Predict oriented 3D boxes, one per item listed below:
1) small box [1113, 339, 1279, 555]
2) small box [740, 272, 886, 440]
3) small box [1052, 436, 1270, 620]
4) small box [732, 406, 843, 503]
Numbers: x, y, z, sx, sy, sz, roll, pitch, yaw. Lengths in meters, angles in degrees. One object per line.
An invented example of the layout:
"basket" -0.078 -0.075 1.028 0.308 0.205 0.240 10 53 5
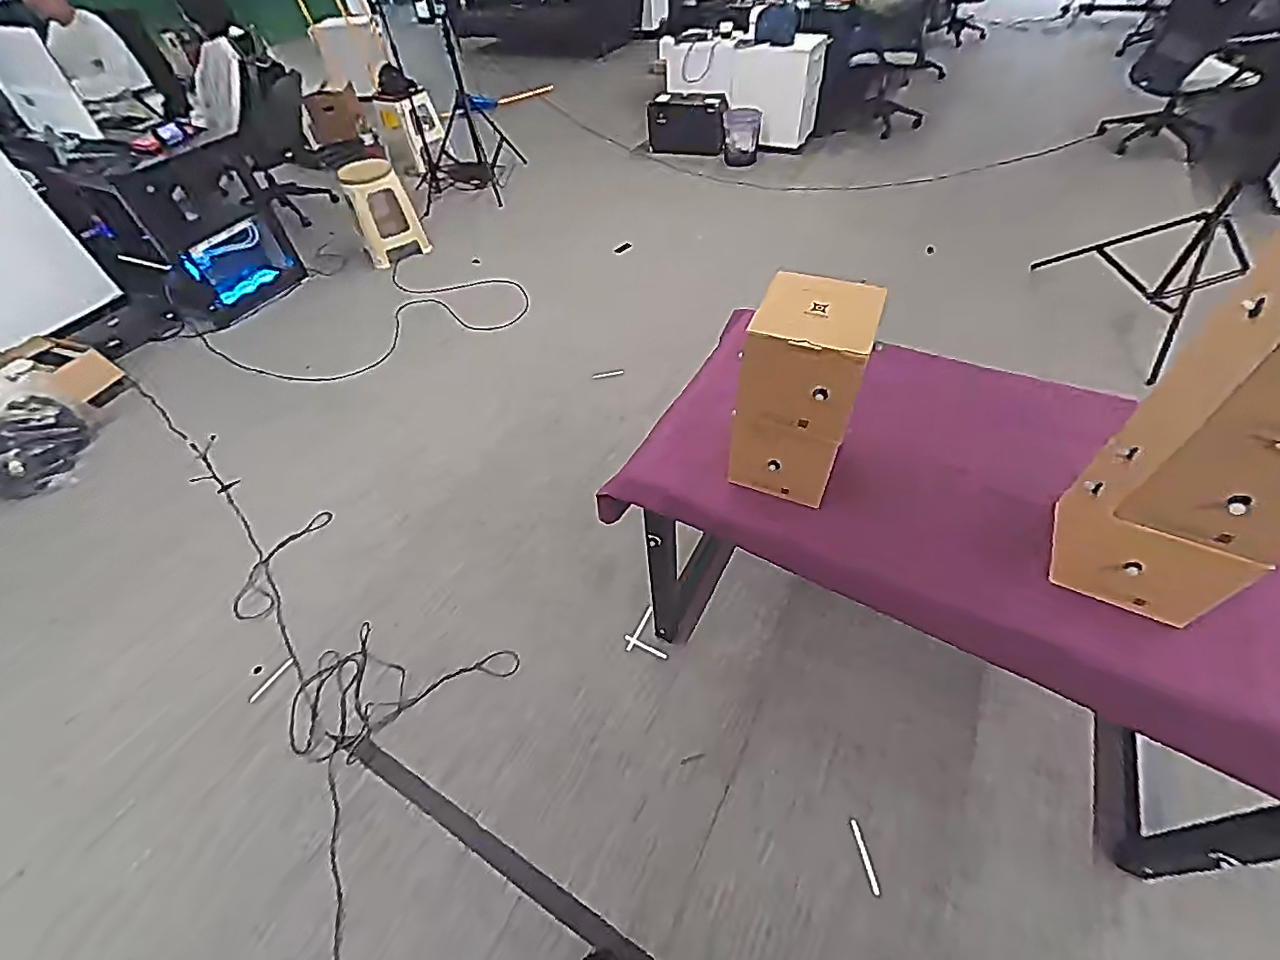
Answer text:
"small box" 0.723 -0.038 0.660 0.168 0.176 0.179 22 55 22
"small box" 0.256 -0.187 0.823 0.168 0.176 0.179 17 52 17
"small box" 0.731 0.072 0.782 0.168 0.176 0.179 21 54 21
"small box" 0.267 -0.087 0.951 0.168 0.176 0.179 18 52 18
